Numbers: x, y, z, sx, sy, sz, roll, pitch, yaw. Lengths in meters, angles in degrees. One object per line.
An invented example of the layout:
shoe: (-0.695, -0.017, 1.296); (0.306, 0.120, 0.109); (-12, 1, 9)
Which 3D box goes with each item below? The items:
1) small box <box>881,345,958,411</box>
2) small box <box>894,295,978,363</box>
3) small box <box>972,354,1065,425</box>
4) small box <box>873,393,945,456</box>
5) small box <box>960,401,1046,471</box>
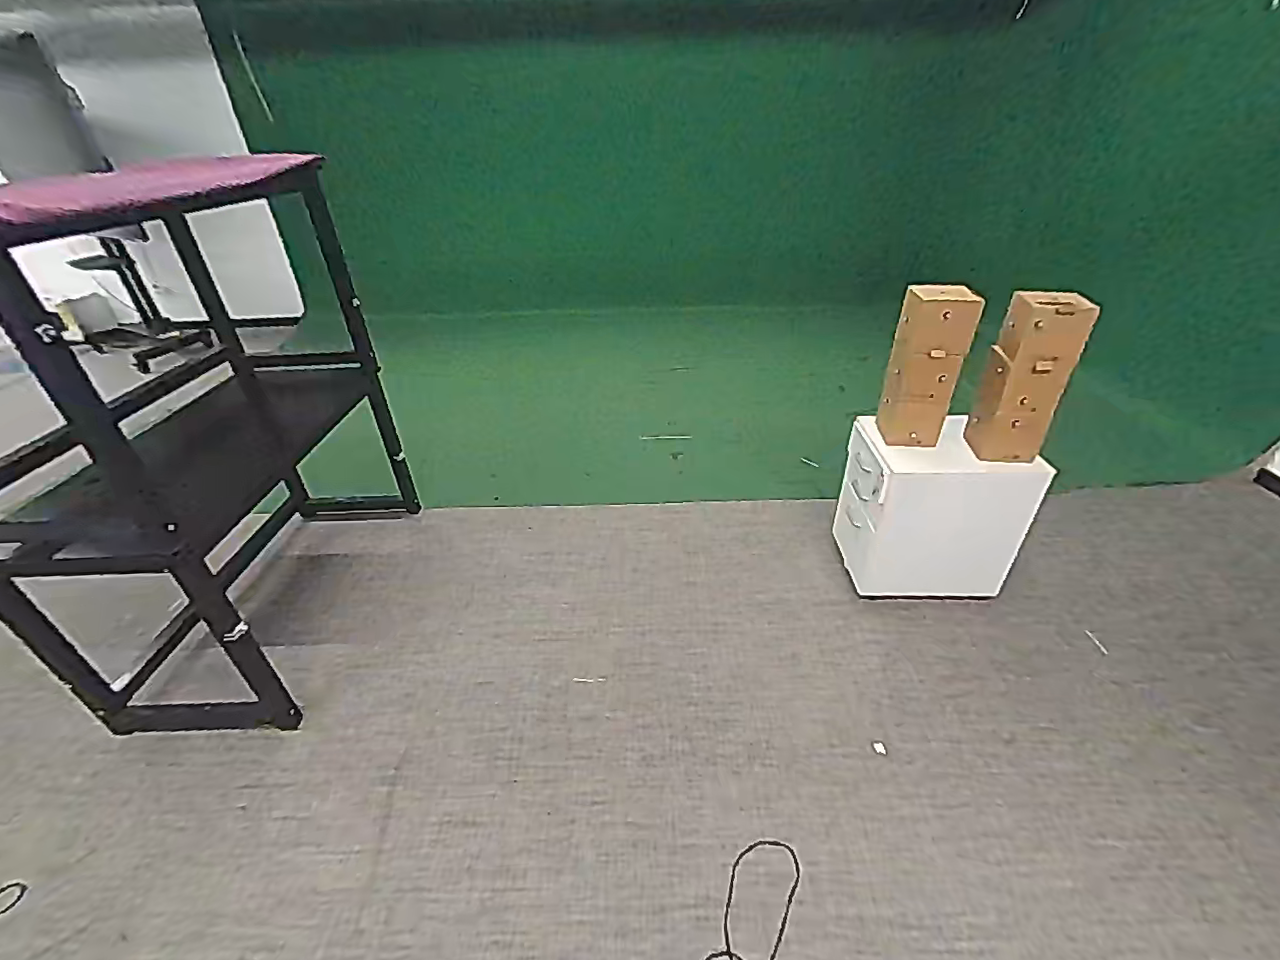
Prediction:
small box: (0.922, -0.340, 1.802); (0.168, 0.176, 0.179); (4, 32, 6)
small box: (0.923, -0.478, 1.712); (0.179, 0.176, 0.168); (4, 34, 5)
small box: (1.181, -0.287, 1.706); (0.168, 0.176, 0.179); (3, 34, 8)
small box: (0.929, -0.202, 1.887); (0.168, 0.176, 0.179); (3, 34, 7)
small box: (1.189, -0.147, 1.789); (0.168, 0.176, 0.179); (3, 32, 8)
